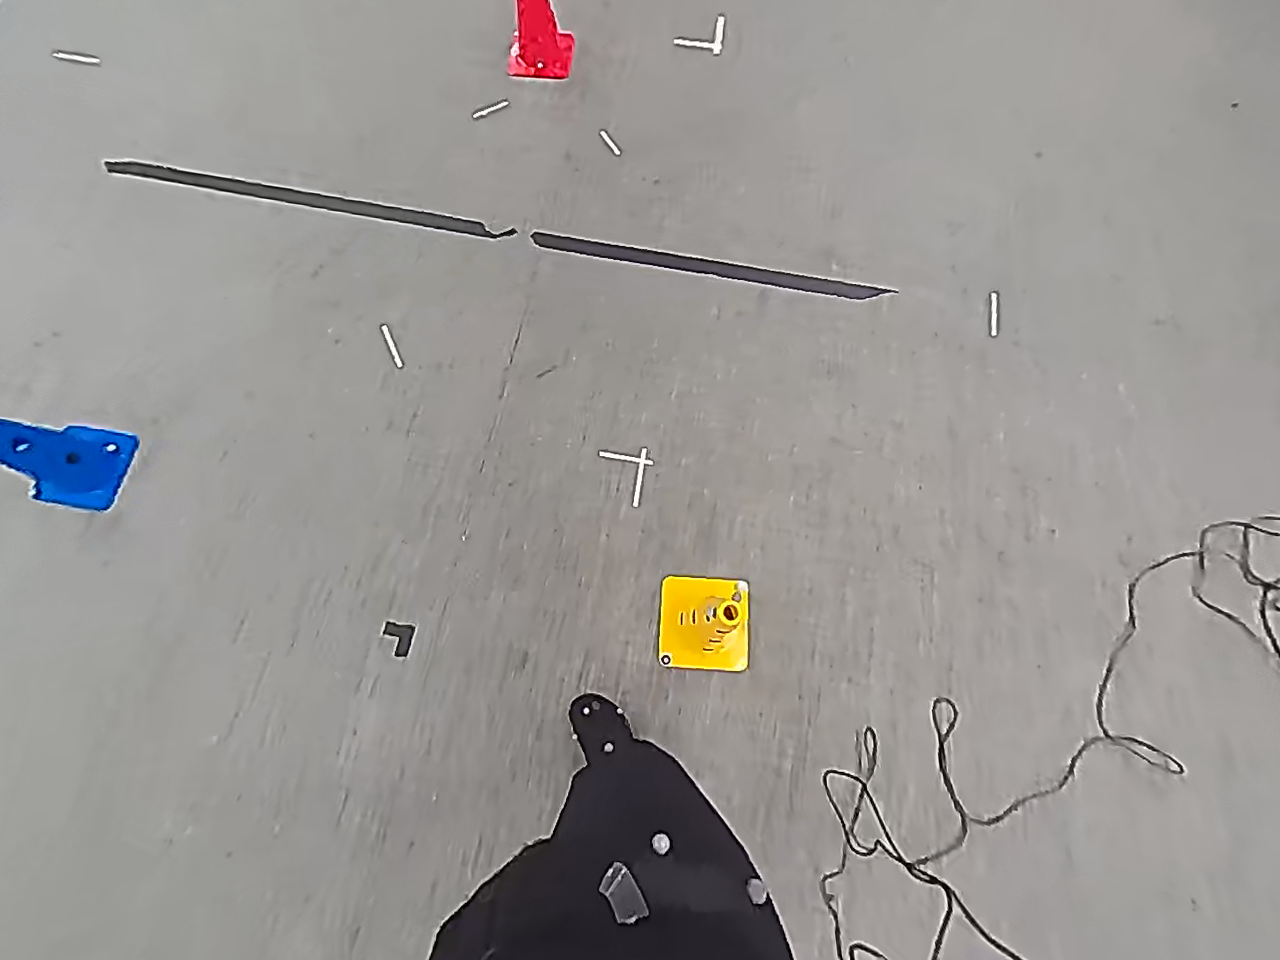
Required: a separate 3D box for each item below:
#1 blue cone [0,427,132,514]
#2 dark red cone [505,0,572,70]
[{"bbox_3d":[-1.357,-0.066,1.165,0.193,0.380,0.192,11,74,3],"label":"blue cone"},{"bbox_3d":[-0.321,-1.431,1.569,0.202,0.394,0.201,3,74,1],"label":"dark red cone"}]
